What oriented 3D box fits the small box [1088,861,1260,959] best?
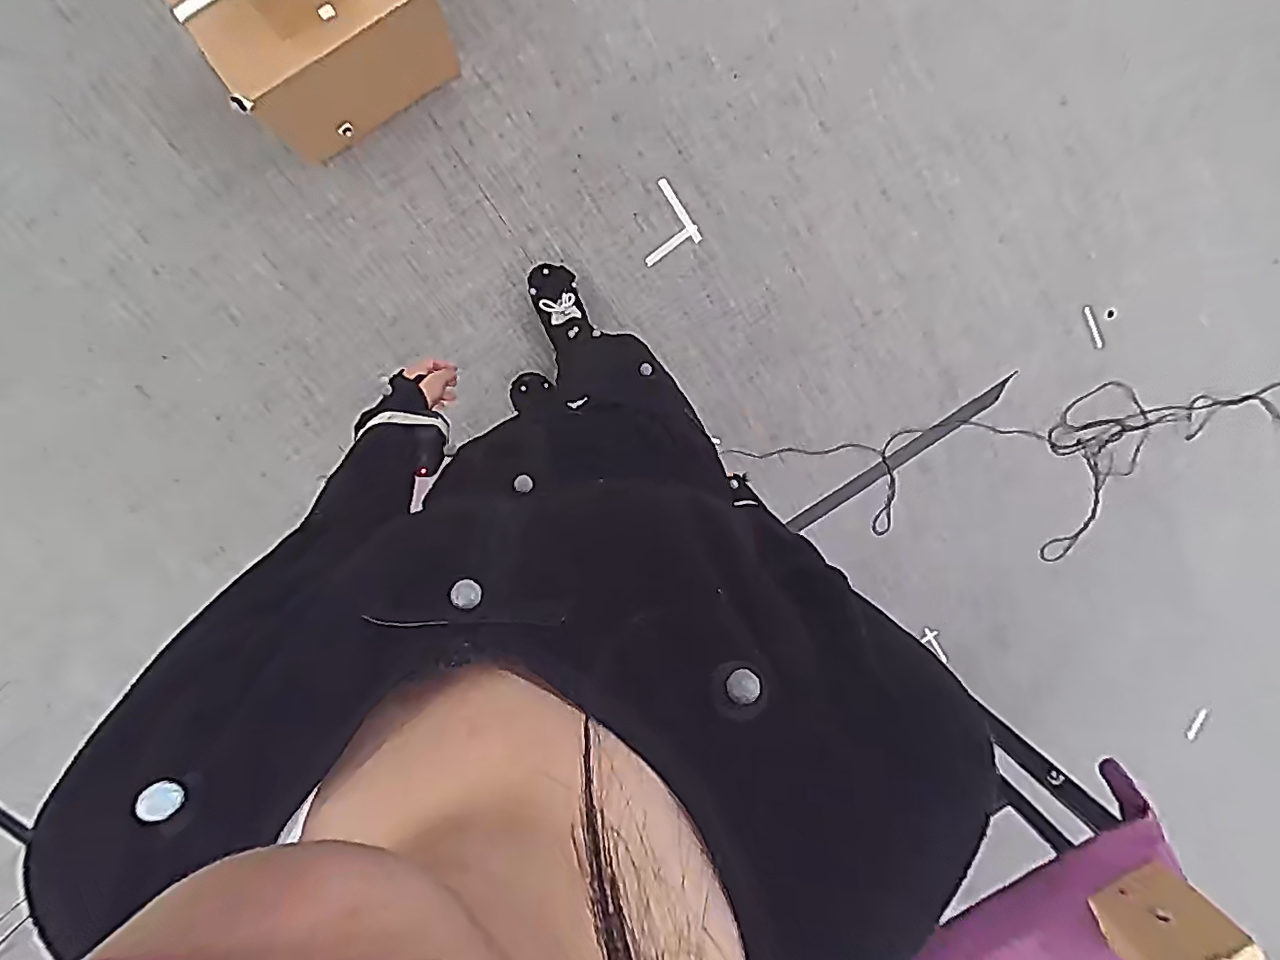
[{"bbox_3d":[1.006,0.871,1.023,0.168,0.176,0.179,-33,105,1],"label":"small box"}]
